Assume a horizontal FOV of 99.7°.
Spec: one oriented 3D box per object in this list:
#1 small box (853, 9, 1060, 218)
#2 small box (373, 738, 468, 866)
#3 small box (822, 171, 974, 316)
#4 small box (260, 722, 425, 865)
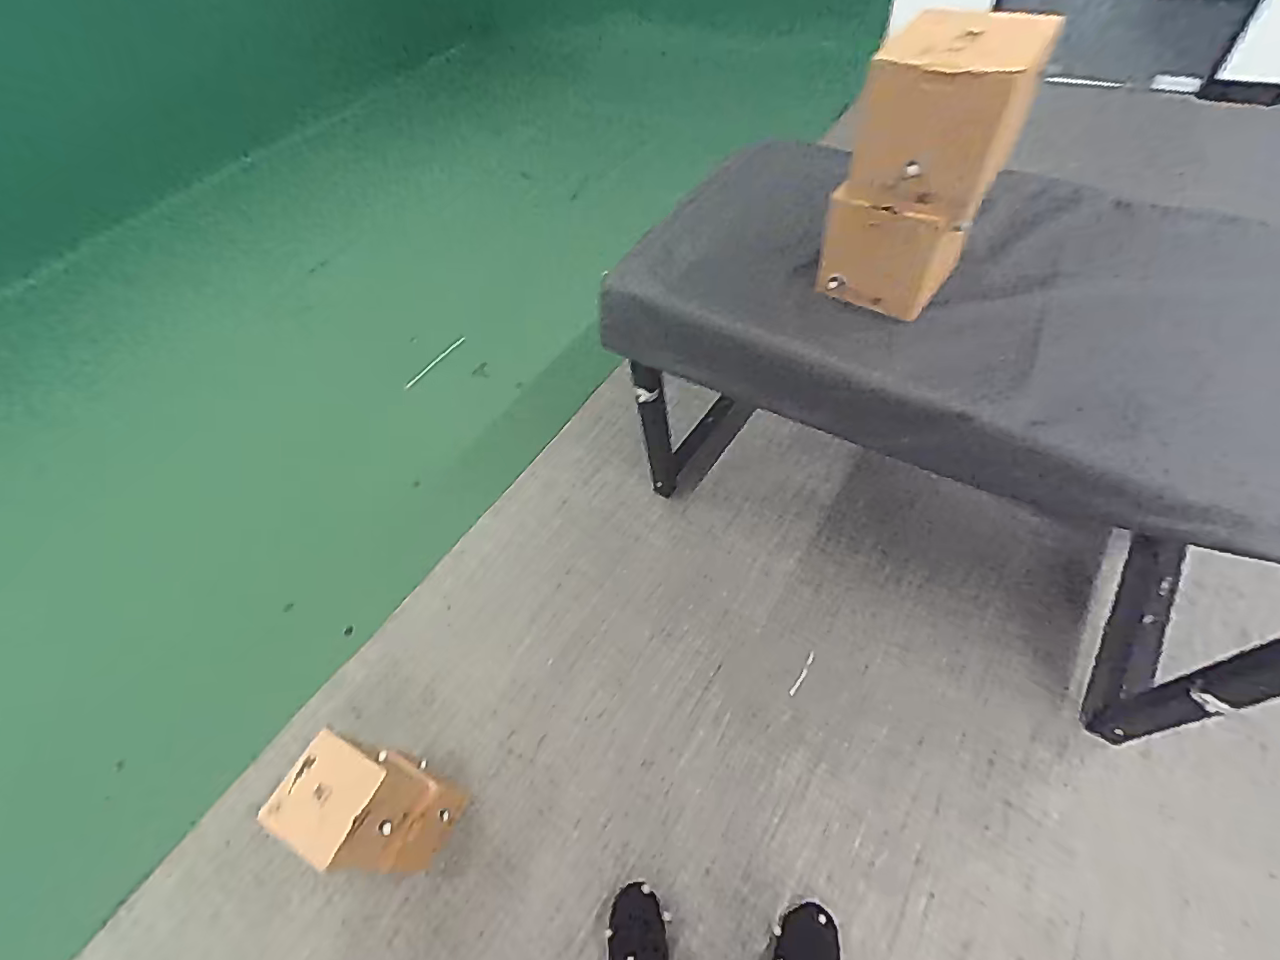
[{"bbox_3d":[0.402,-0.482,0.714,0.168,0.176,0.179,28,64,25],"label":"small box"},{"bbox_3d":[-0.501,0.681,1.148,0.179,0.176,0.168,20,60,22],"label":"small box"},{"bbox_3d":[0.405,-0.390,0.852,0.168,0.176,0.179,31,65,26],"label":"small box"},{"bbox_3d":[-0.545,0.588,1.019,0.179,0.176,0.168,21,60,20],"label":"small box"}]
